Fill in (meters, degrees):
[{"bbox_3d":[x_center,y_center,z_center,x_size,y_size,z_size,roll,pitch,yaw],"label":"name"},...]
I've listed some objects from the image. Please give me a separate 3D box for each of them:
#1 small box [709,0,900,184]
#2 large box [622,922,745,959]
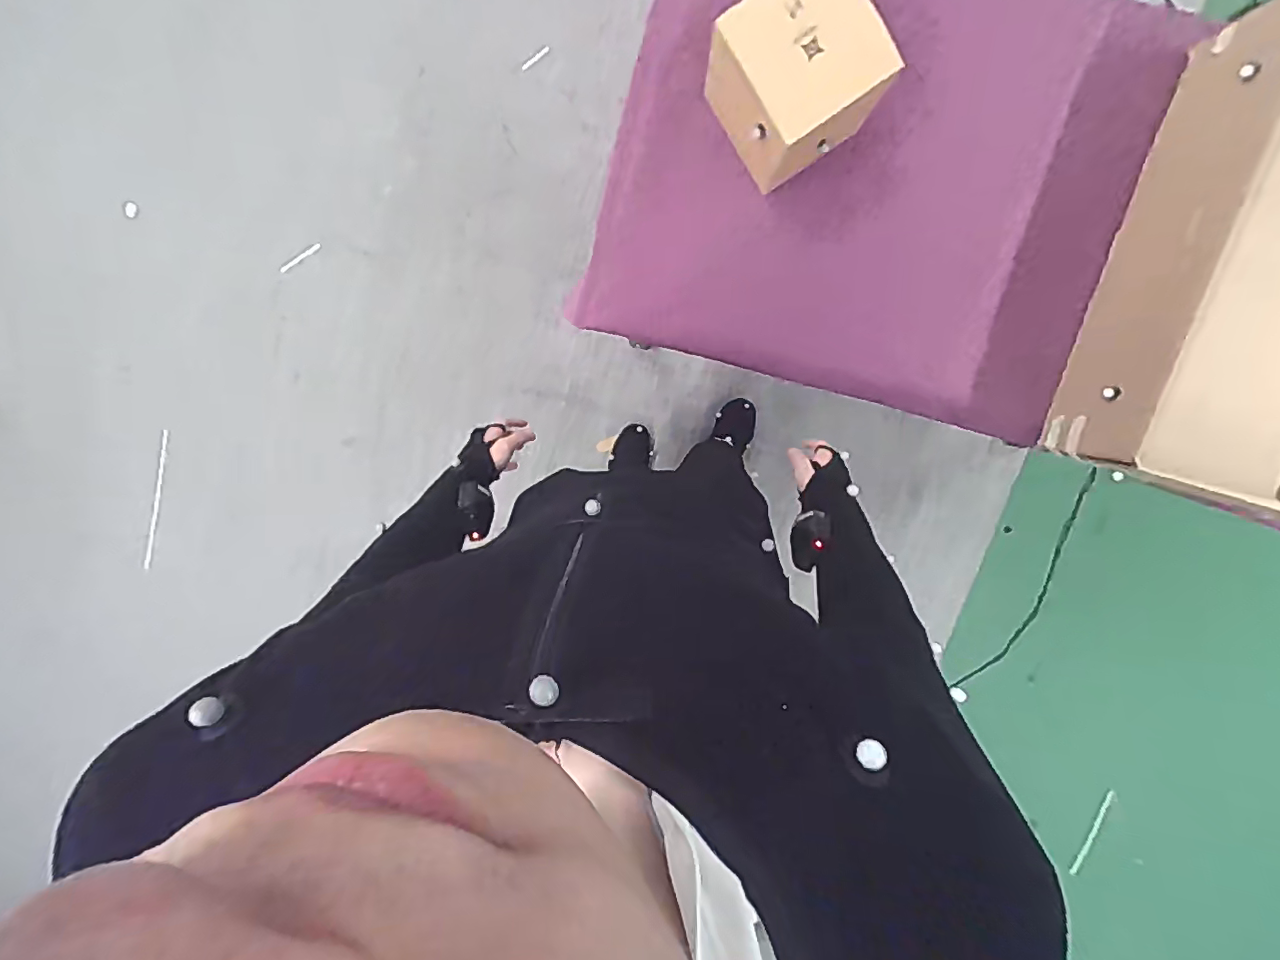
[{"bbox_3d":[0.210,-0.539,0.738,0.168,0.176,0.179,-32,96,6],"label":"small box"},{"bbox_3d":[0.166,1.716,1.722,0.408,0.320,0.320,-15,98,3],"label":"large box"}]
